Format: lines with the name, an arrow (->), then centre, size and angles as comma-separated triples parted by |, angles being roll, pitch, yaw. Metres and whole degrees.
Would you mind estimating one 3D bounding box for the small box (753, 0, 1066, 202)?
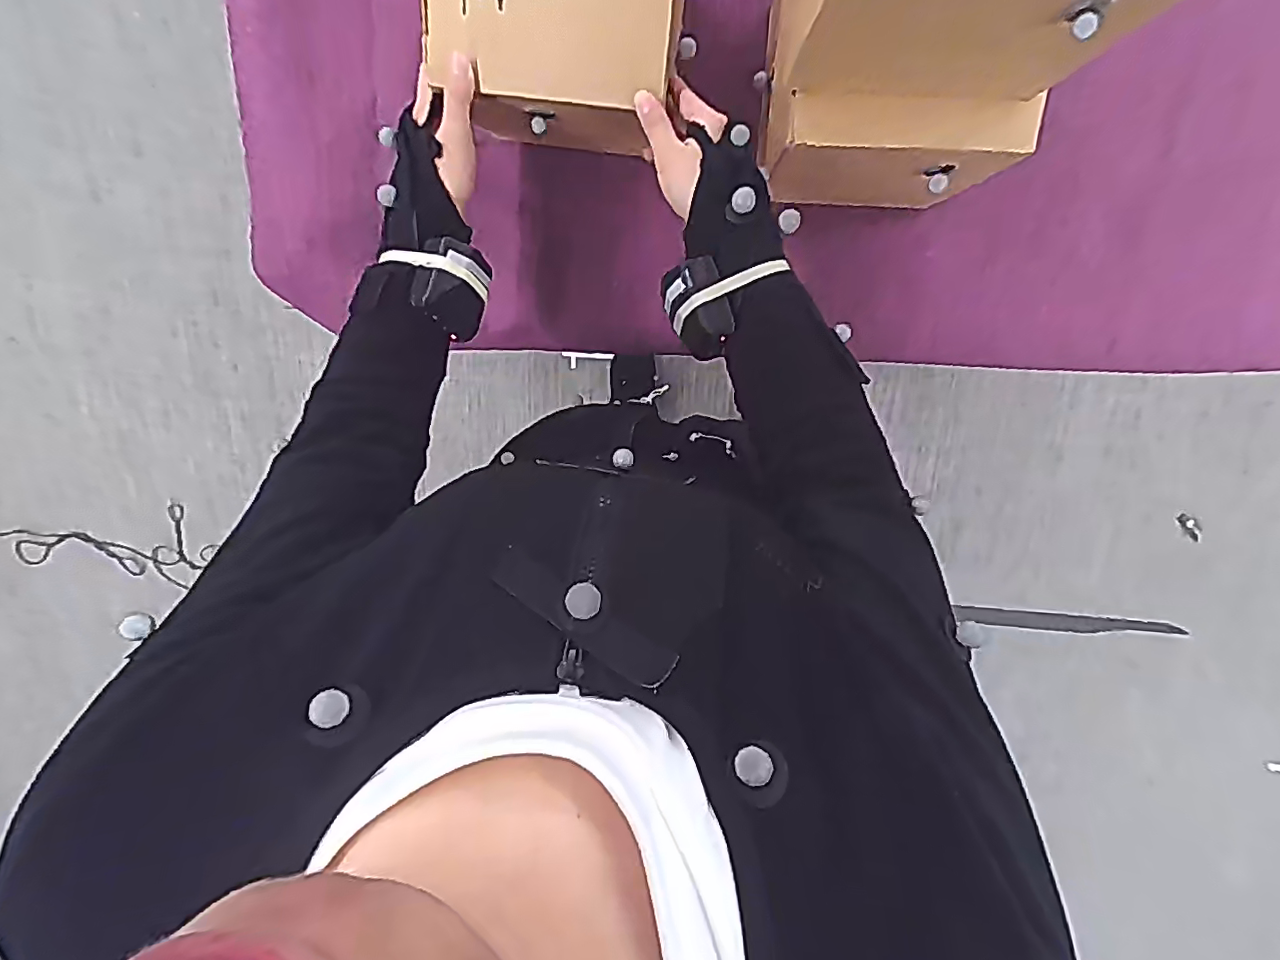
small box -> 0.201, -0.338, 0.440 | 0.179, 0.176, 0.168 | 4, 104, 1
